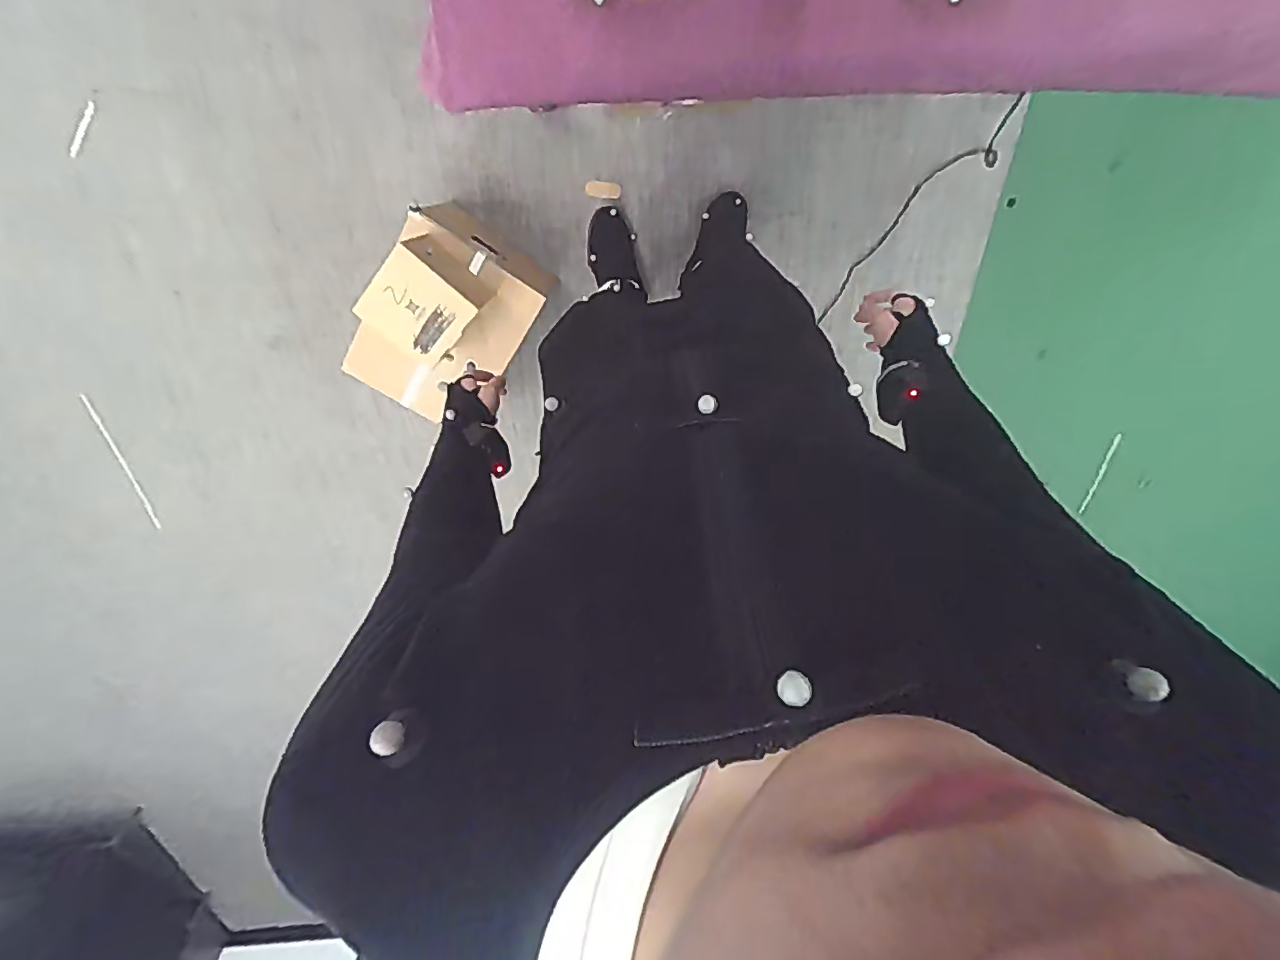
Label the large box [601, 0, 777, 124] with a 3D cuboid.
[{"bbox_3d":[0.079,-0.948,1.048,0.320,0.320,0.408,-2,119,-3],"label":"large box"}]
